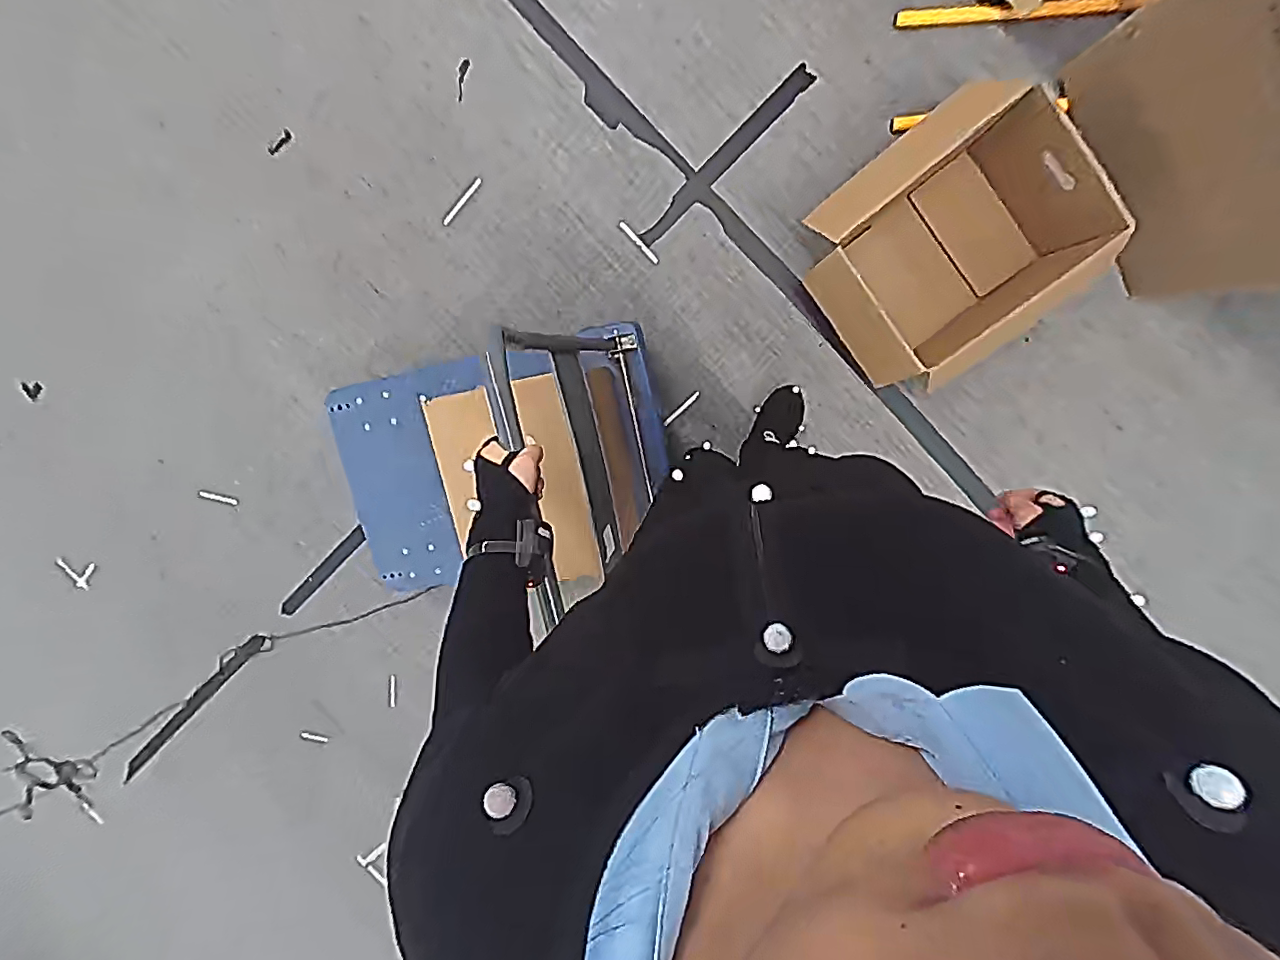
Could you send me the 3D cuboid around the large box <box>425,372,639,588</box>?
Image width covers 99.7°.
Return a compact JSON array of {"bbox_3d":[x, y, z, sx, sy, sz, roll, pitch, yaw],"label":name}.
[{"bbox_3d":[-0.215,-0.014,1.220,0.320,0.320,0.408,-9,100,13],"label":"large box"}]
